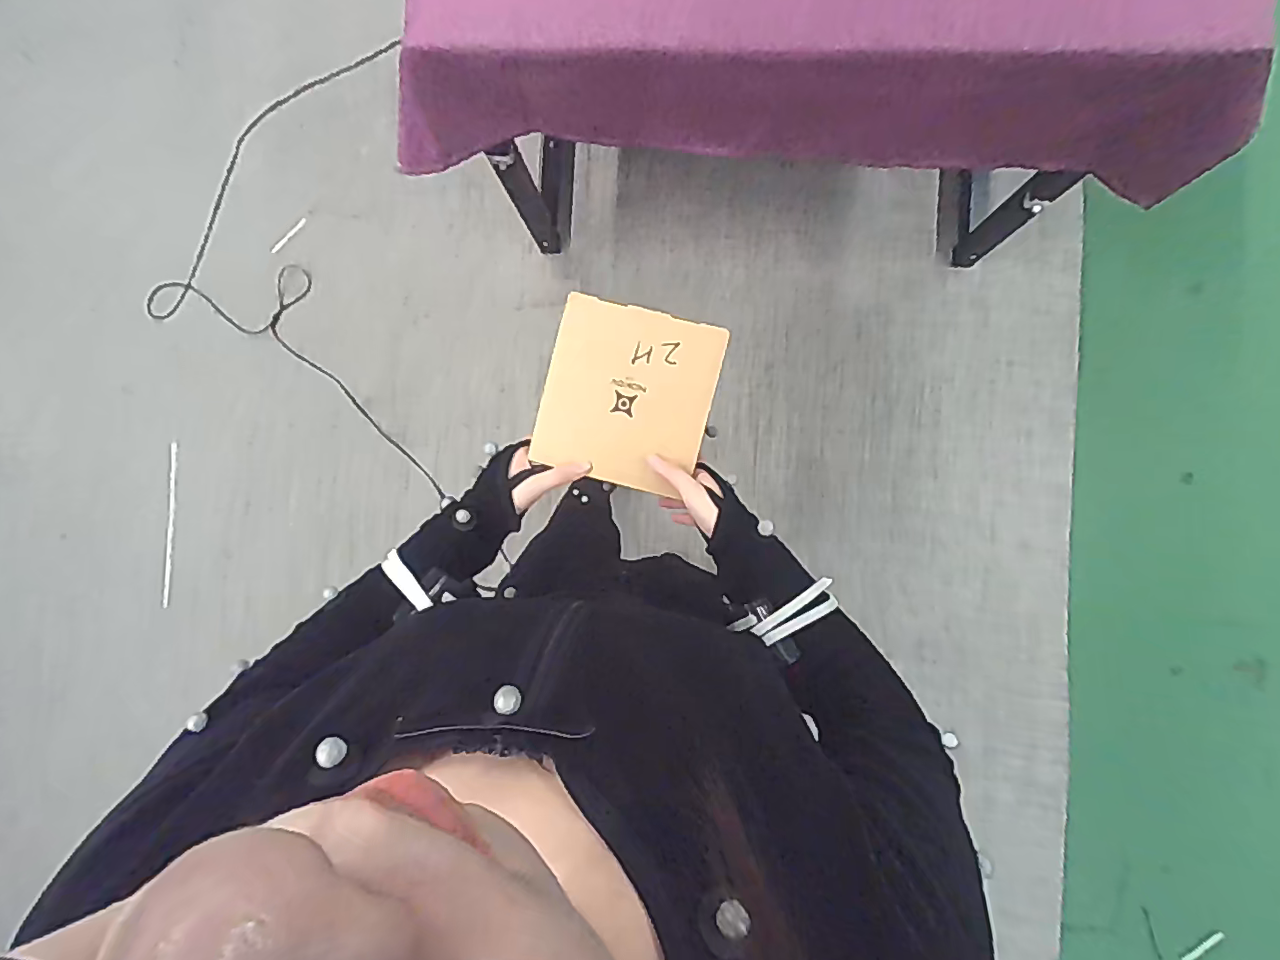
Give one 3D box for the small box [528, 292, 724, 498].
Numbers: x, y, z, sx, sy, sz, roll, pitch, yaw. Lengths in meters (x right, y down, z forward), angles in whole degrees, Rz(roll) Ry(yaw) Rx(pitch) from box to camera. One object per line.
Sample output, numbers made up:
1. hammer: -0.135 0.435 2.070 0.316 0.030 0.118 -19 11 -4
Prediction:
1. small box: -0.009 -0.089 0.626 0.168 0.176 0.179 16 93 3
